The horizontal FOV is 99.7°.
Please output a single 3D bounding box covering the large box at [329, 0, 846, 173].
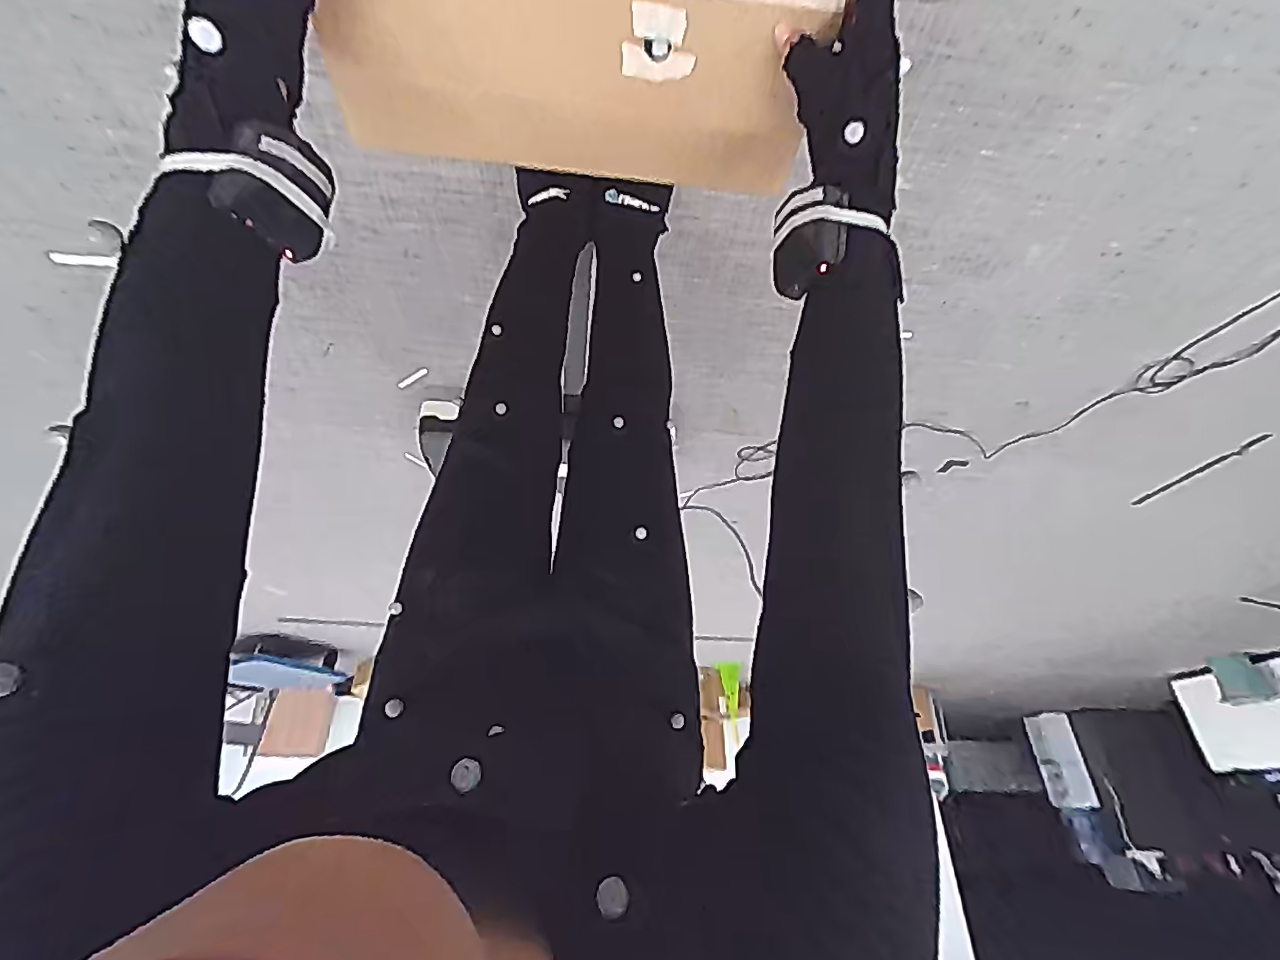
[{"bbox_3d":[-0.038,-0.514,0.462,0.408,0.320,0.320,3,149,-4],"label":"large box"}]
